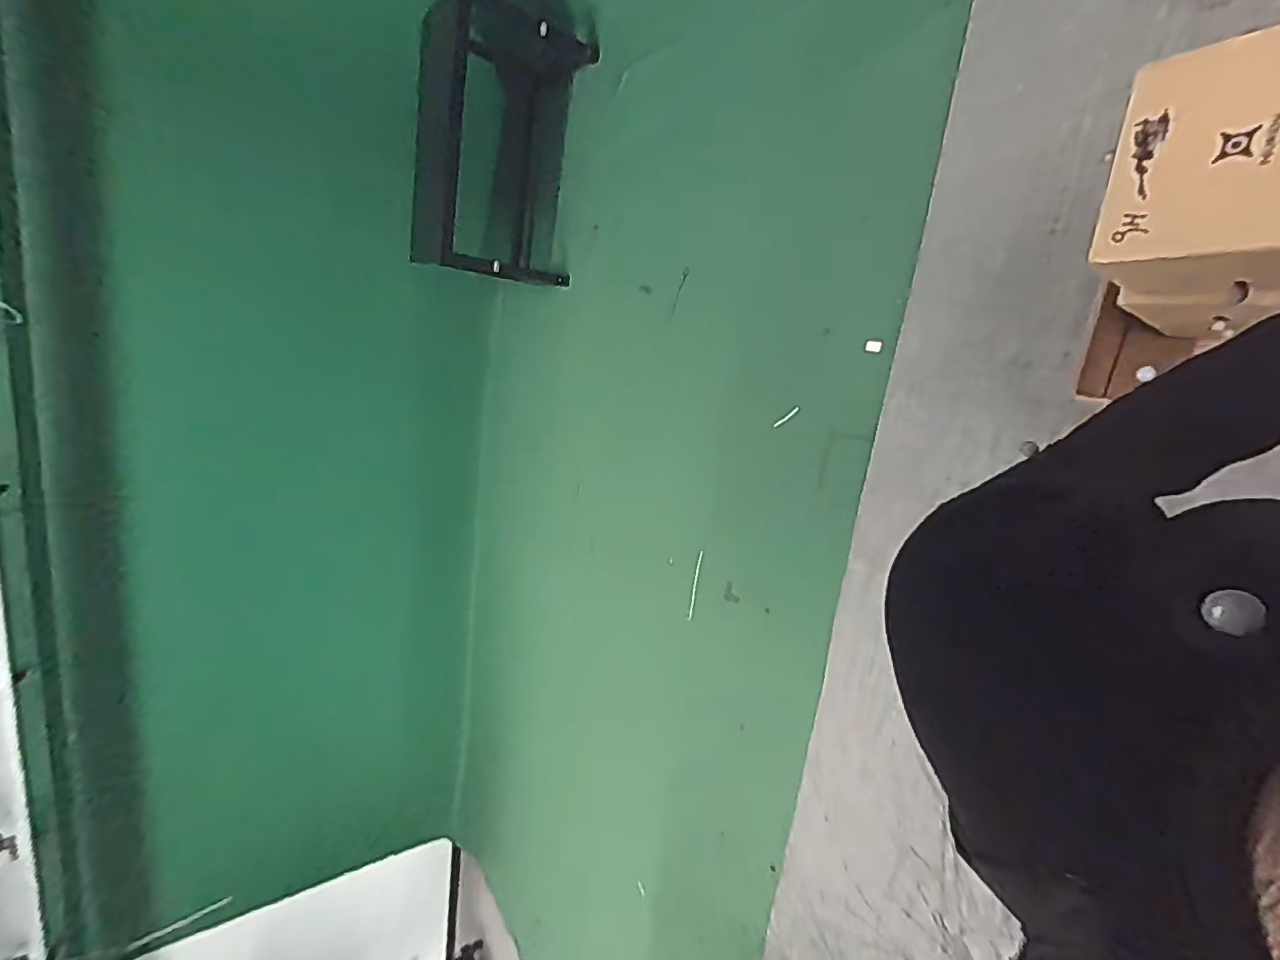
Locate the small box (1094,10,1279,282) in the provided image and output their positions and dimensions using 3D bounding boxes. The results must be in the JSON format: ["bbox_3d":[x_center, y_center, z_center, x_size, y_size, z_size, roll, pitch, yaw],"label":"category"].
[{"bbox_3d":[0.538,-0.271,0.458,0.179,0.176,0.168,21,108,51],"label":"small box"}]
